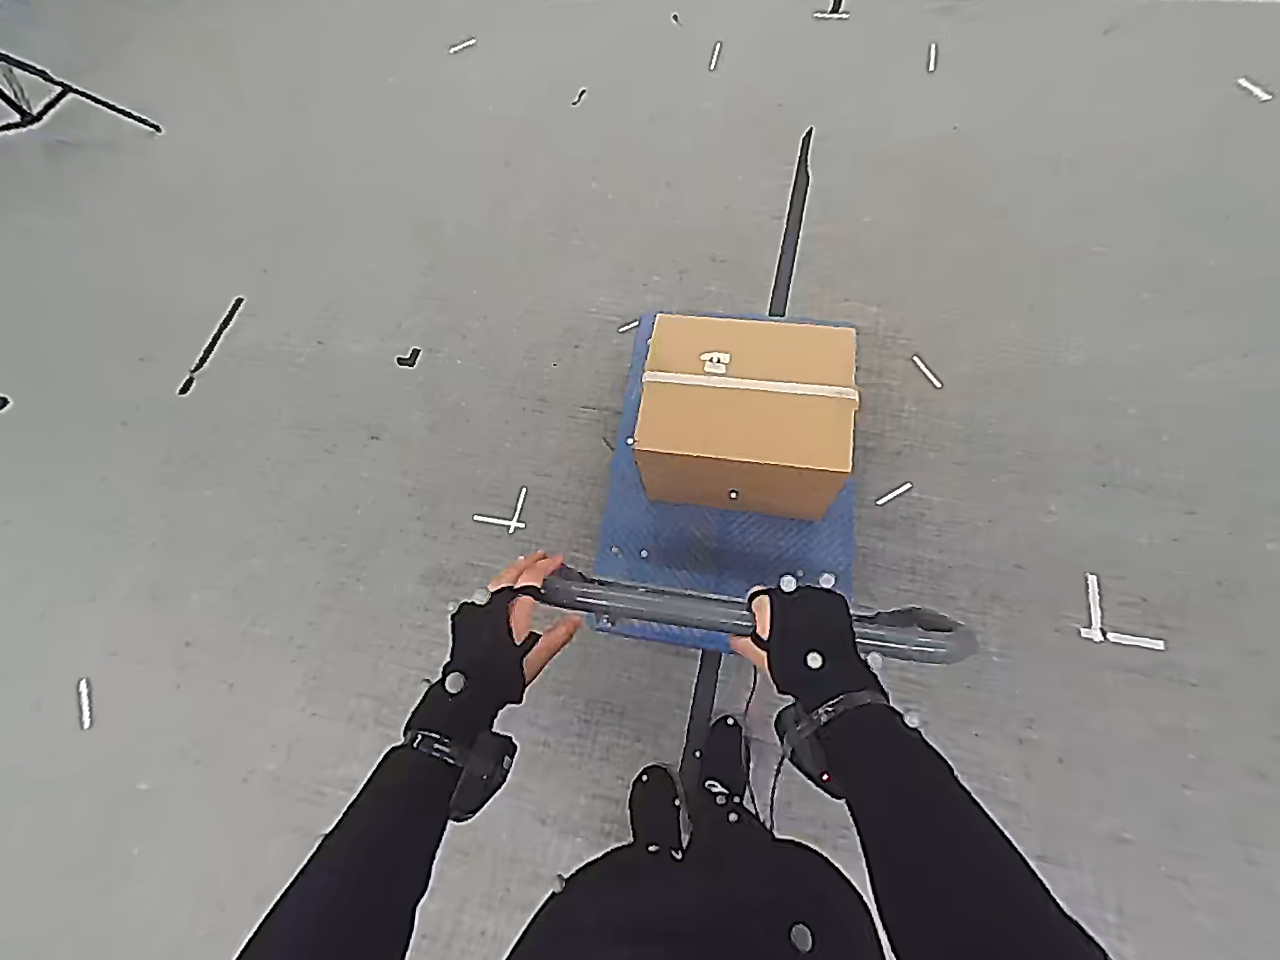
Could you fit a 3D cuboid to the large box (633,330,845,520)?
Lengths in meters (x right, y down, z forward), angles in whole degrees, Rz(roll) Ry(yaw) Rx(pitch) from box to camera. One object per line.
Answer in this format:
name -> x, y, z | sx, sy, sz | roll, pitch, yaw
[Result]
large box -> 0.221, -0.111, 1.214 | 0.408, 0.320, 0.320 | 6, 69, 9
